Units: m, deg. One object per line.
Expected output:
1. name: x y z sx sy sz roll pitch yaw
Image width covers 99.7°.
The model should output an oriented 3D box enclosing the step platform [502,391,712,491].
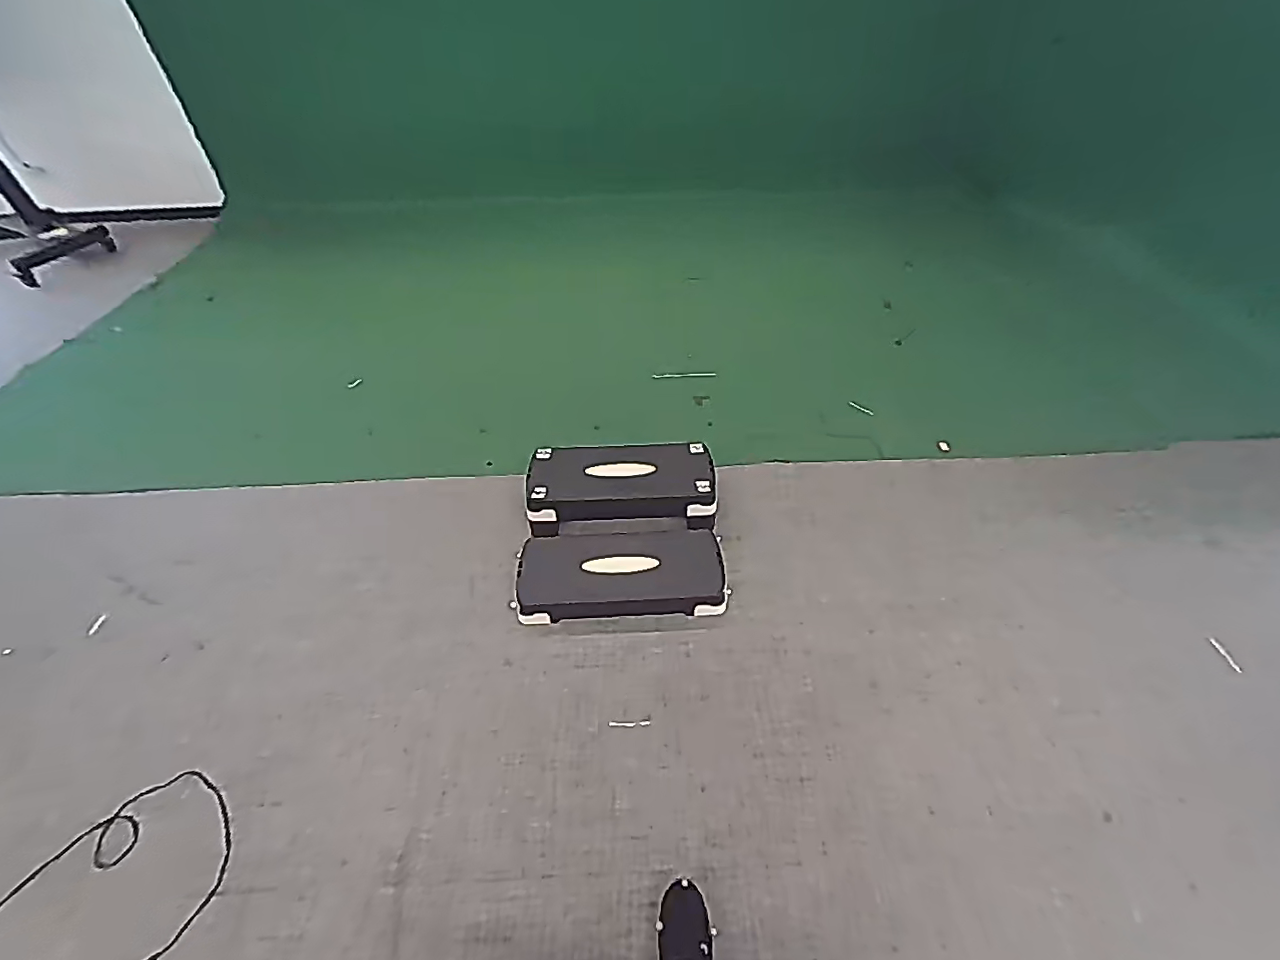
1. step platform: -0.105 -0.132 1.840 0.684 0.204 0.286 -3 45 0
